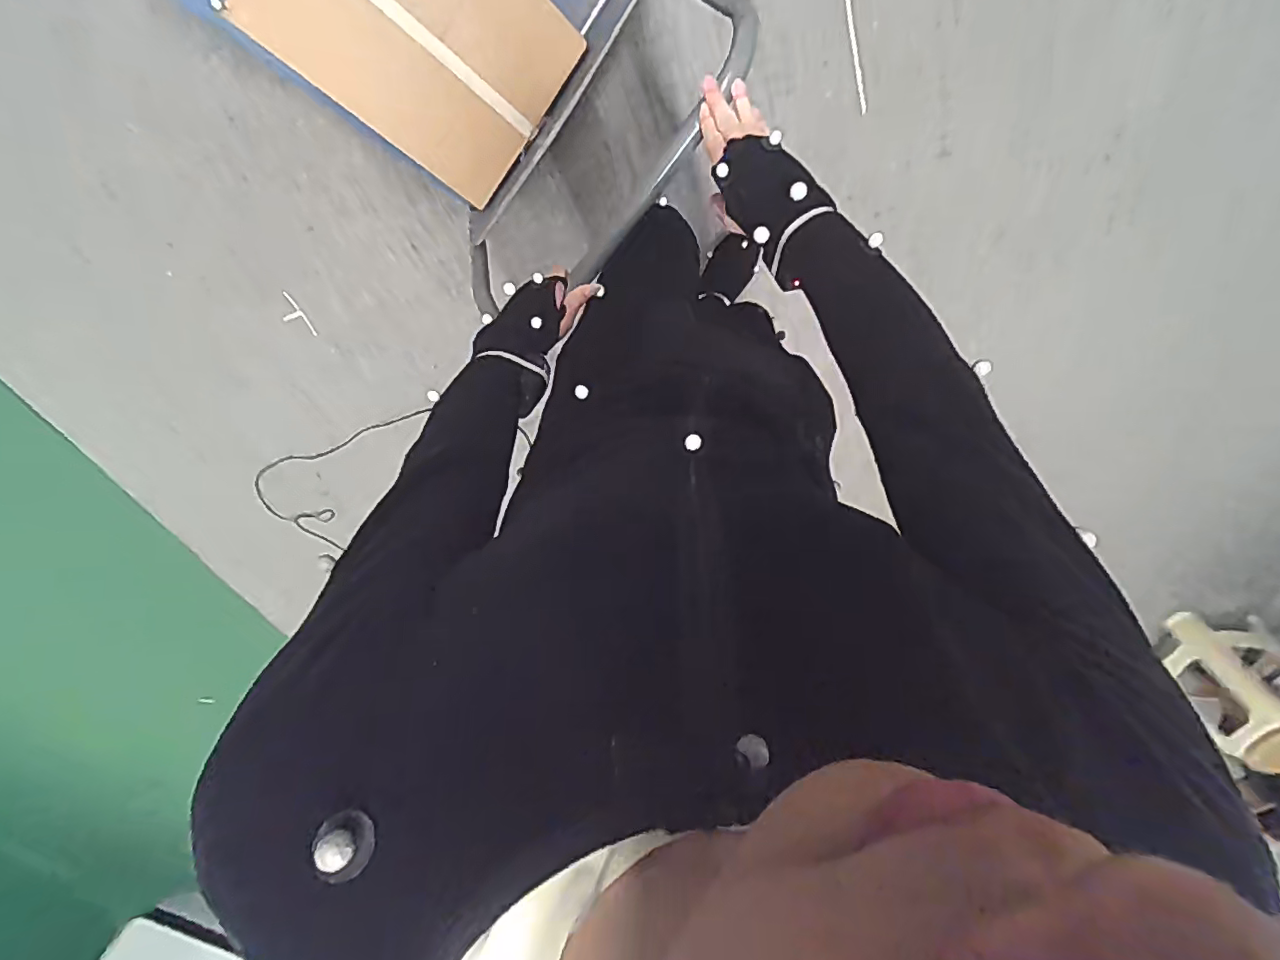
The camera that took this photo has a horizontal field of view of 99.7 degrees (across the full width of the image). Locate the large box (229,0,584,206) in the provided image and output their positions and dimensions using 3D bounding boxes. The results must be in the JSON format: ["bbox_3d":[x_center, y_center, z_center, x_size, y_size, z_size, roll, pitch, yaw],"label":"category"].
[{"bbox_3d":[-0.351,-0.755,0.898,0.408,0.320,0.320,28,120,-33],"label":"large box"}]
